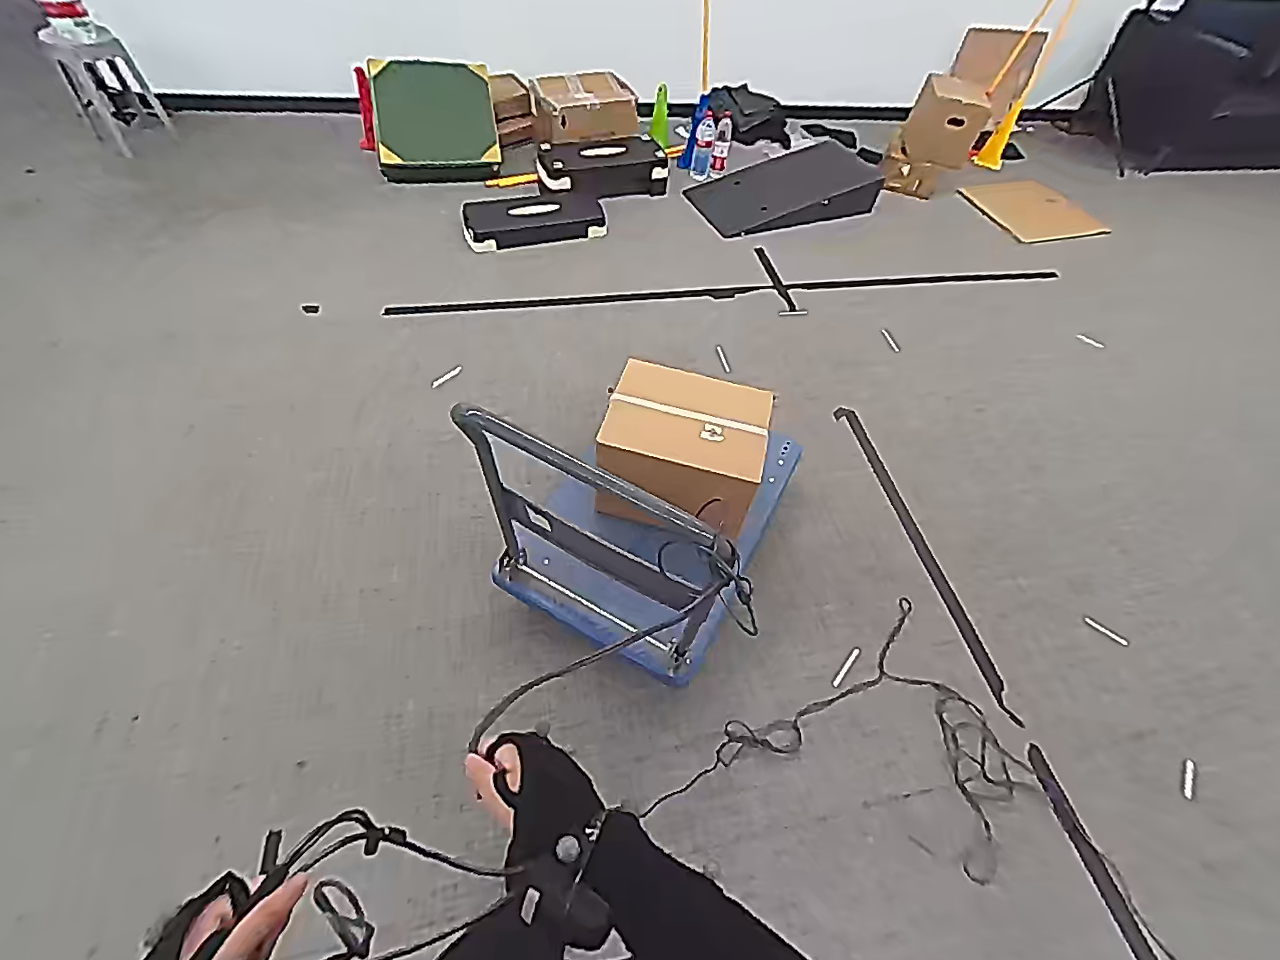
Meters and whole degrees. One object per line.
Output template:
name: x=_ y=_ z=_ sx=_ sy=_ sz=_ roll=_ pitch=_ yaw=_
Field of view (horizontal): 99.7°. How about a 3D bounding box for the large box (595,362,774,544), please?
large box: x=0.111 y=-0.068 z=1.471 sx=0.408 sy=0.320 sz=0.320 roll=15 pitch=55 yaw=4
